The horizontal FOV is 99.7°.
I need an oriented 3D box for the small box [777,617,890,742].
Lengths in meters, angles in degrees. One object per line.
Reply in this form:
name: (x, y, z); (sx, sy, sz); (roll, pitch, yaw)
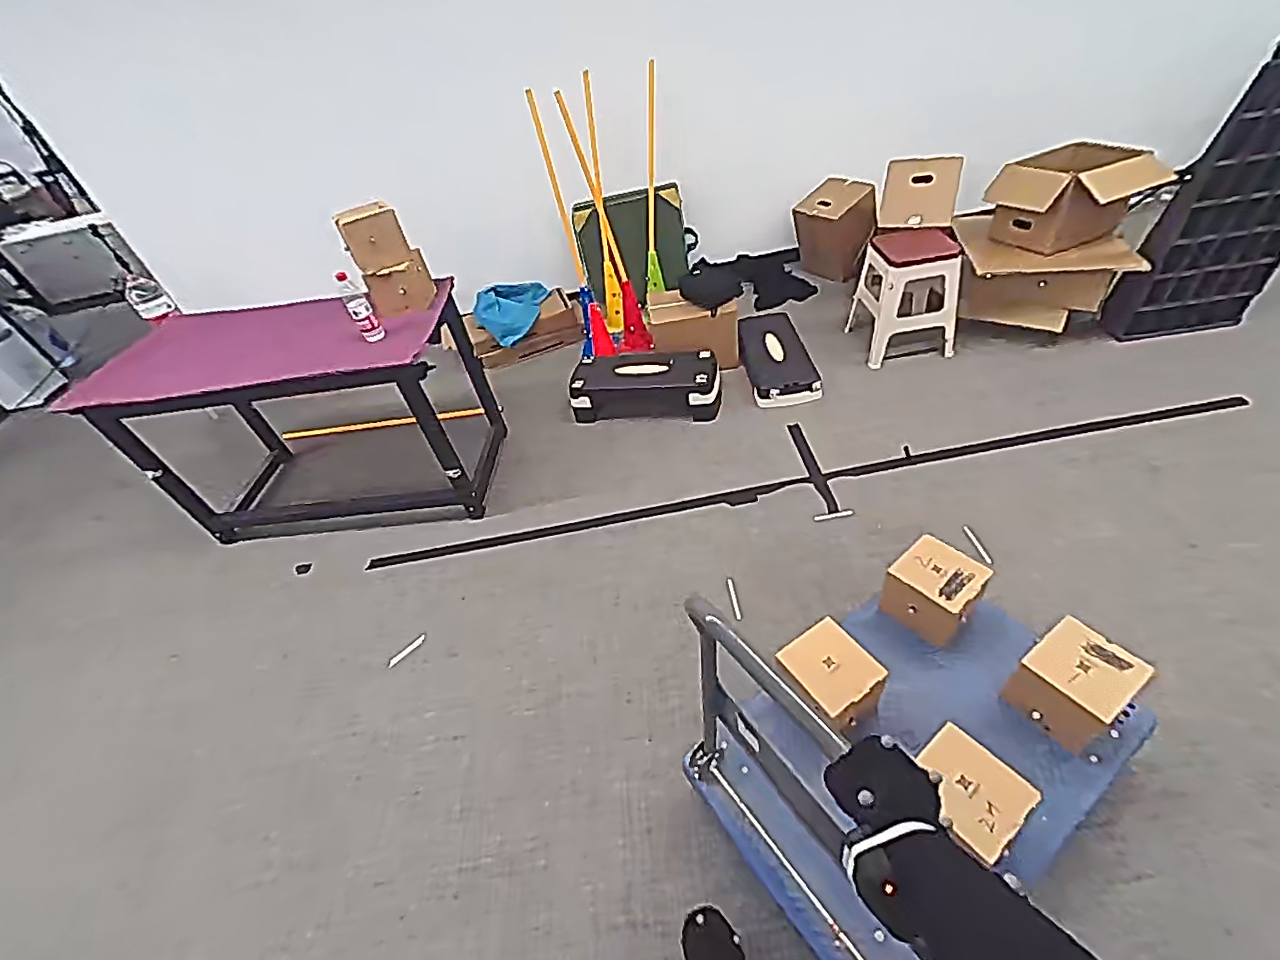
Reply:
small box: (0.428, 0.455, 1.231); (0.168, 0.176, 0.179); (-29, 47, -17)

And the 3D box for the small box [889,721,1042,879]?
small box: (0.604, 0.610, 1.030); (0.168, 0.176, 0.179); (-32, 47, -20)

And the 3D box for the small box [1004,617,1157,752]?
small box: (0.916, 0.433, 1.144); (0.179, 0.176, 0.168); (-31, 46, -17)
